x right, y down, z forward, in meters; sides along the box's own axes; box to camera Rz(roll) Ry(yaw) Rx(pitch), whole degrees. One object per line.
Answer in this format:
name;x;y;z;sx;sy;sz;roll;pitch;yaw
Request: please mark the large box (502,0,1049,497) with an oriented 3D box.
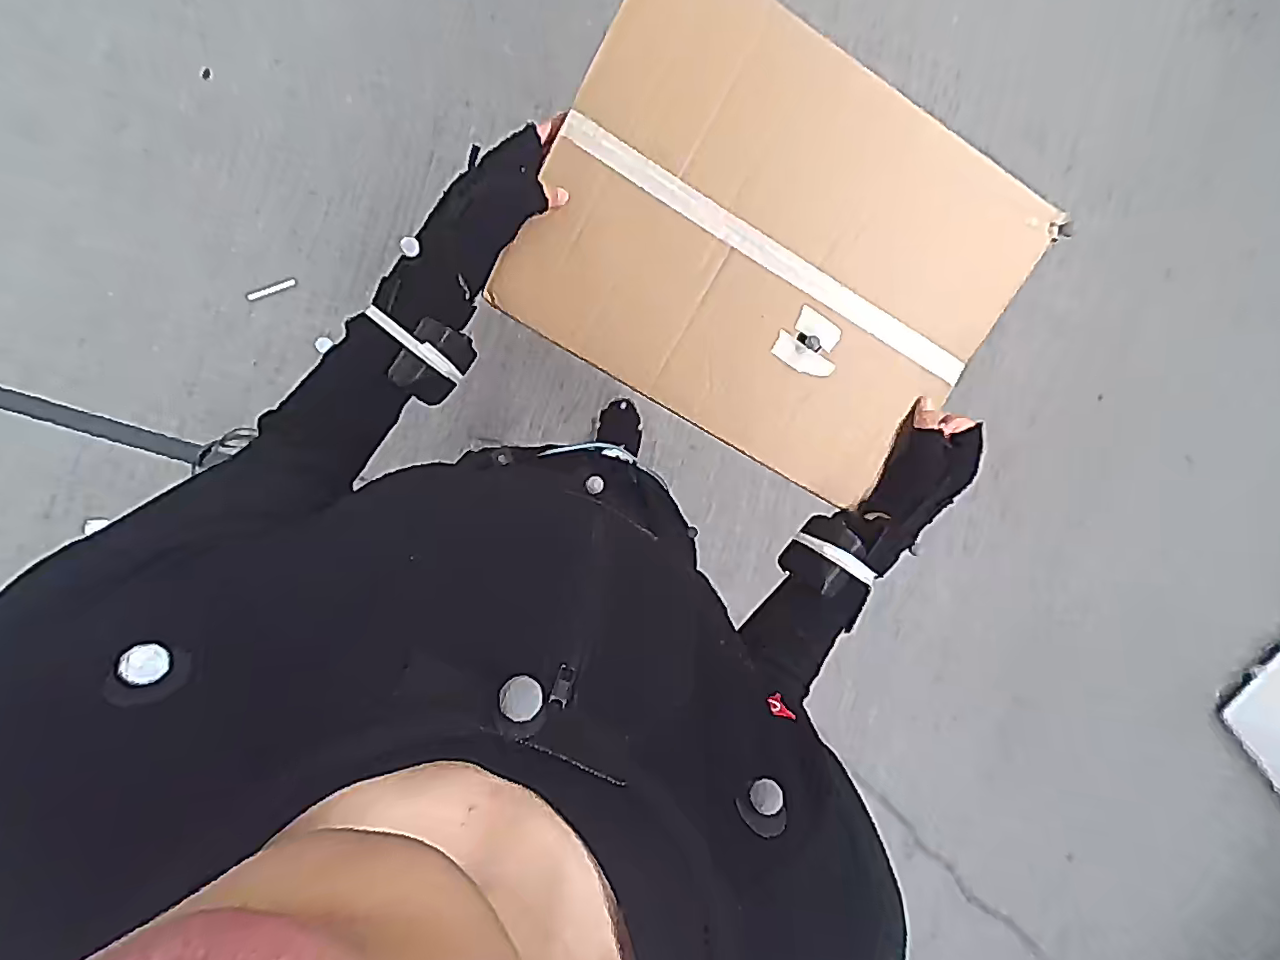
large box;0.112;-0.236;0.621;0.408;0.320;0.320;29;102;-10
